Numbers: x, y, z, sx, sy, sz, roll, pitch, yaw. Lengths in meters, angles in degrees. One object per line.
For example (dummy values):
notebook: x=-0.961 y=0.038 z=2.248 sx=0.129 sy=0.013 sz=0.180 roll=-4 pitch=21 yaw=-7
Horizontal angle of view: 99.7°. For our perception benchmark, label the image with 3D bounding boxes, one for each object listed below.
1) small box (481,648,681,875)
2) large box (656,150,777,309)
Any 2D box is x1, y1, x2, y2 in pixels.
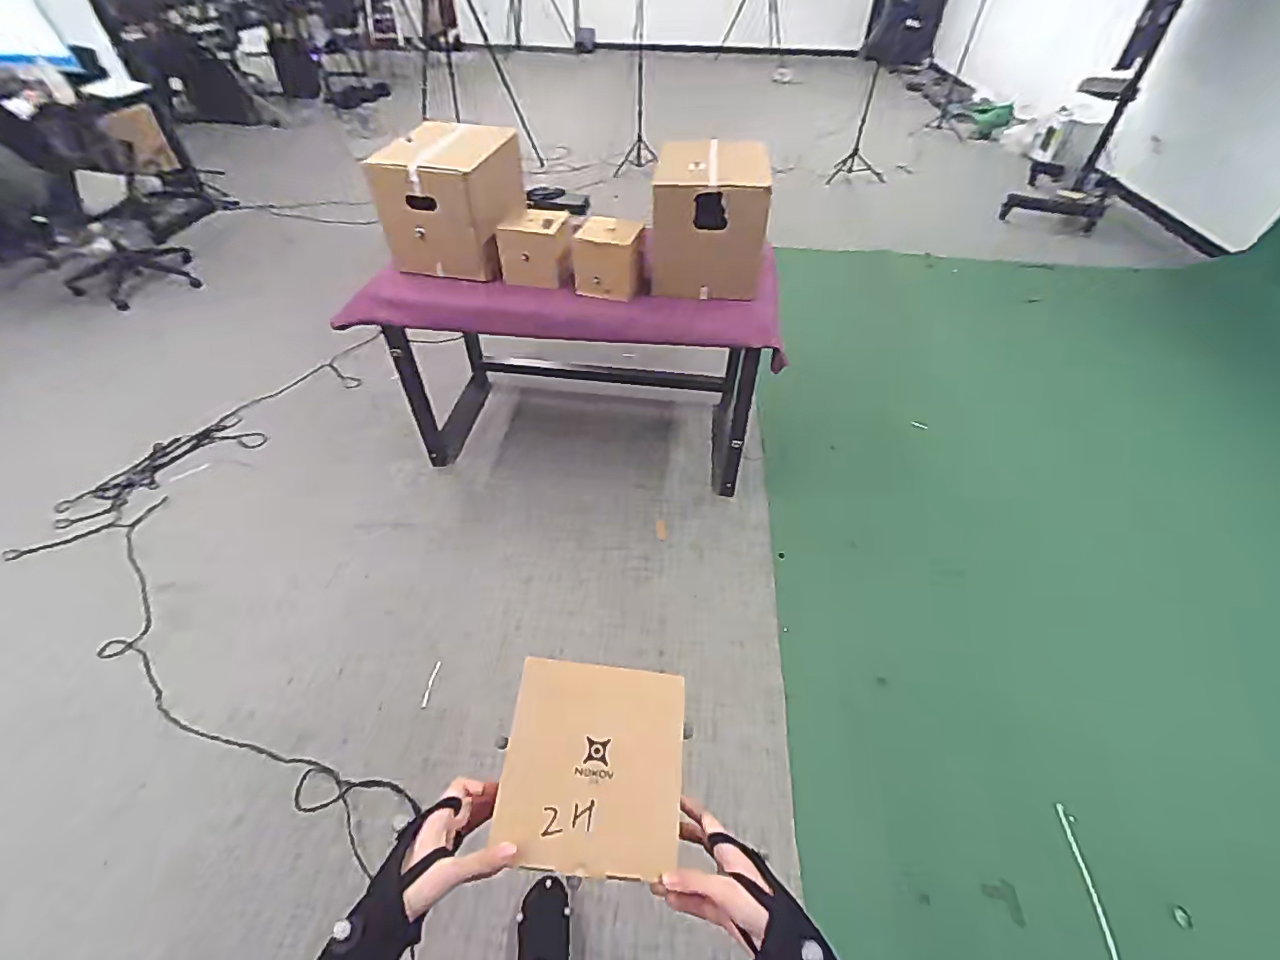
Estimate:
small box: x=-0.057 y=0.296 z=0.567 sx=0.168 sy=0.176 sz=0.179 roll=8 pitch=56 yaw=-3
large box: x=0.217 y=-0.758 z=1.630 sx=0.320 sy=0.320 sz=0.408 roll=3 pitch=47 yaw=6
